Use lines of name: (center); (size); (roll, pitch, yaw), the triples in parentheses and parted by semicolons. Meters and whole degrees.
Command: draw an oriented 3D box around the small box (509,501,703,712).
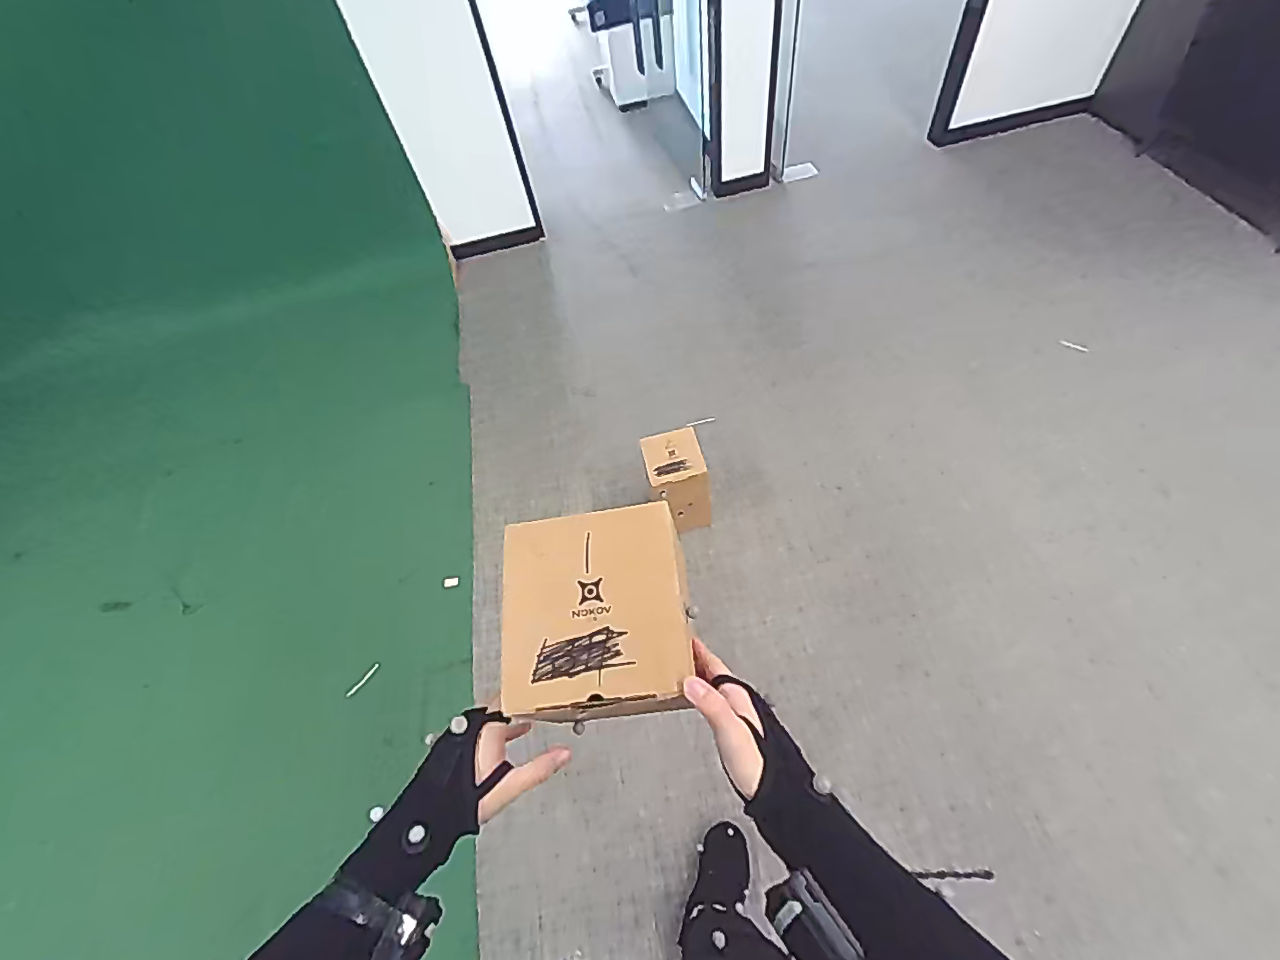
small box: (-0.028, 0.143, 0.571); (0.168, 0.176, 0.179); (-8, 61, 5)

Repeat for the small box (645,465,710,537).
small box: (0.124, 0.080, 1.765); (0.179, 0.176, 0.168); (-13, 55, -1)
